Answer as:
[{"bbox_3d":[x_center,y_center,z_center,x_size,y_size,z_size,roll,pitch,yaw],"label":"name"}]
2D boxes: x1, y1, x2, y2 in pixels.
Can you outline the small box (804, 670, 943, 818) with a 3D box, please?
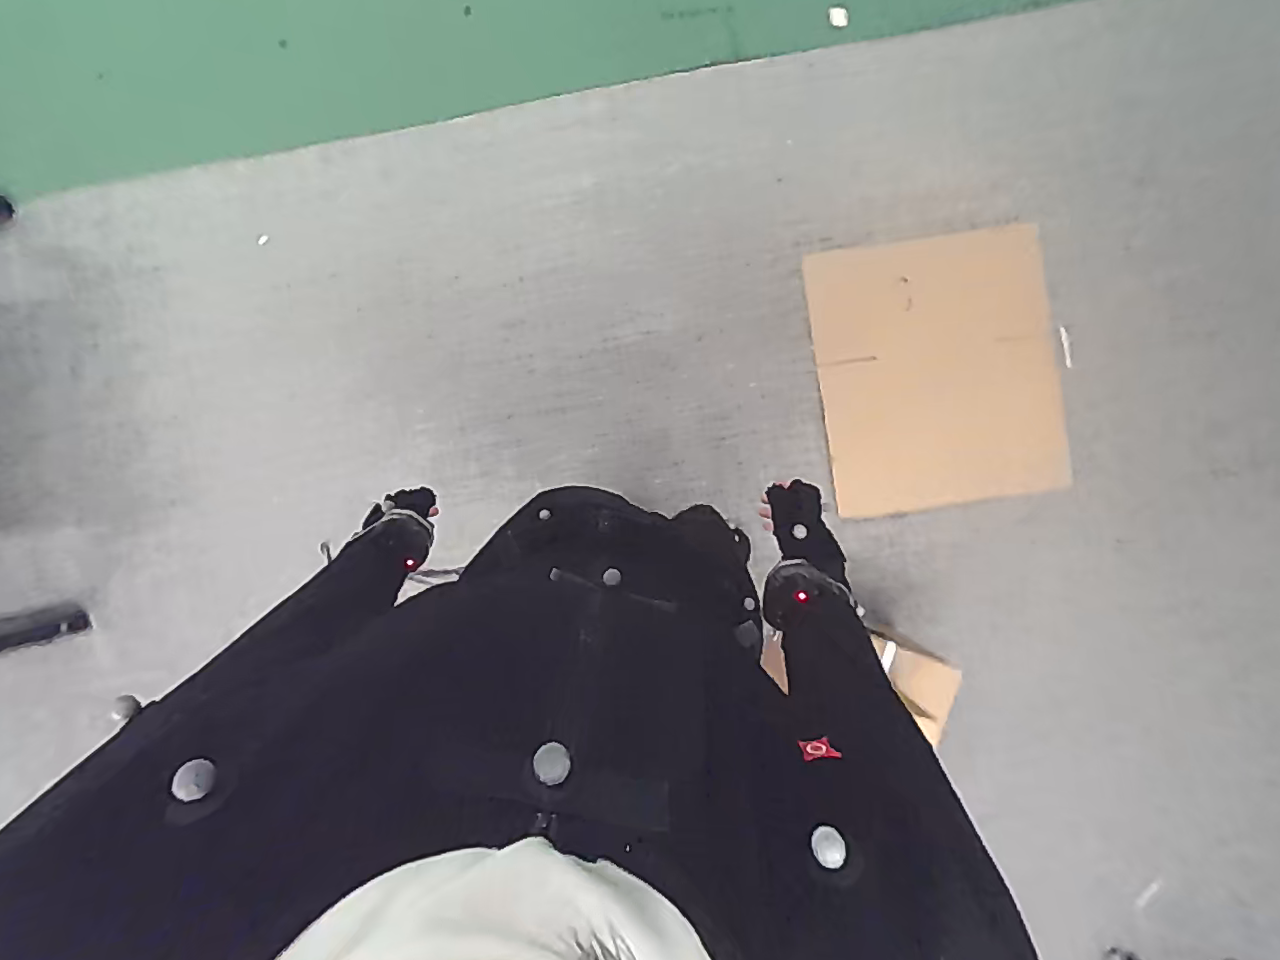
[{"bbox_3d":[0.425,0.480,1.014,0.168,0.176,0.179,15,91,1],"label":"small box"}]
